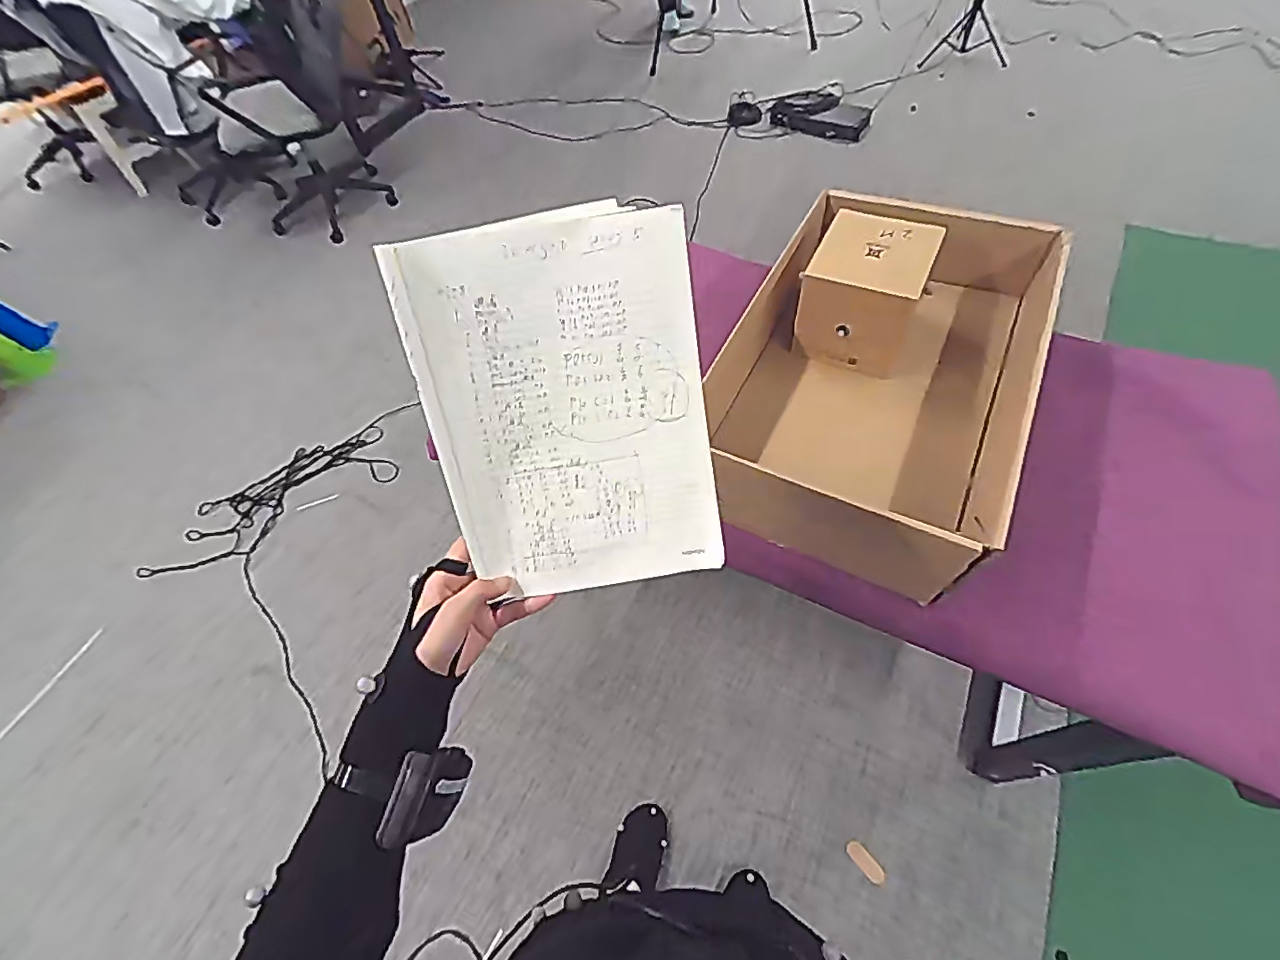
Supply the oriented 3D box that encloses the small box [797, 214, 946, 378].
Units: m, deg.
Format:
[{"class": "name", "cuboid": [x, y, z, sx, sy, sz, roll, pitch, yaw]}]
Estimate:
[{"class": "small box", "cuboid": [0.367, -0.295, 0.884, 0.168, 0.176, 0.179, 22, 64, 20]}]
